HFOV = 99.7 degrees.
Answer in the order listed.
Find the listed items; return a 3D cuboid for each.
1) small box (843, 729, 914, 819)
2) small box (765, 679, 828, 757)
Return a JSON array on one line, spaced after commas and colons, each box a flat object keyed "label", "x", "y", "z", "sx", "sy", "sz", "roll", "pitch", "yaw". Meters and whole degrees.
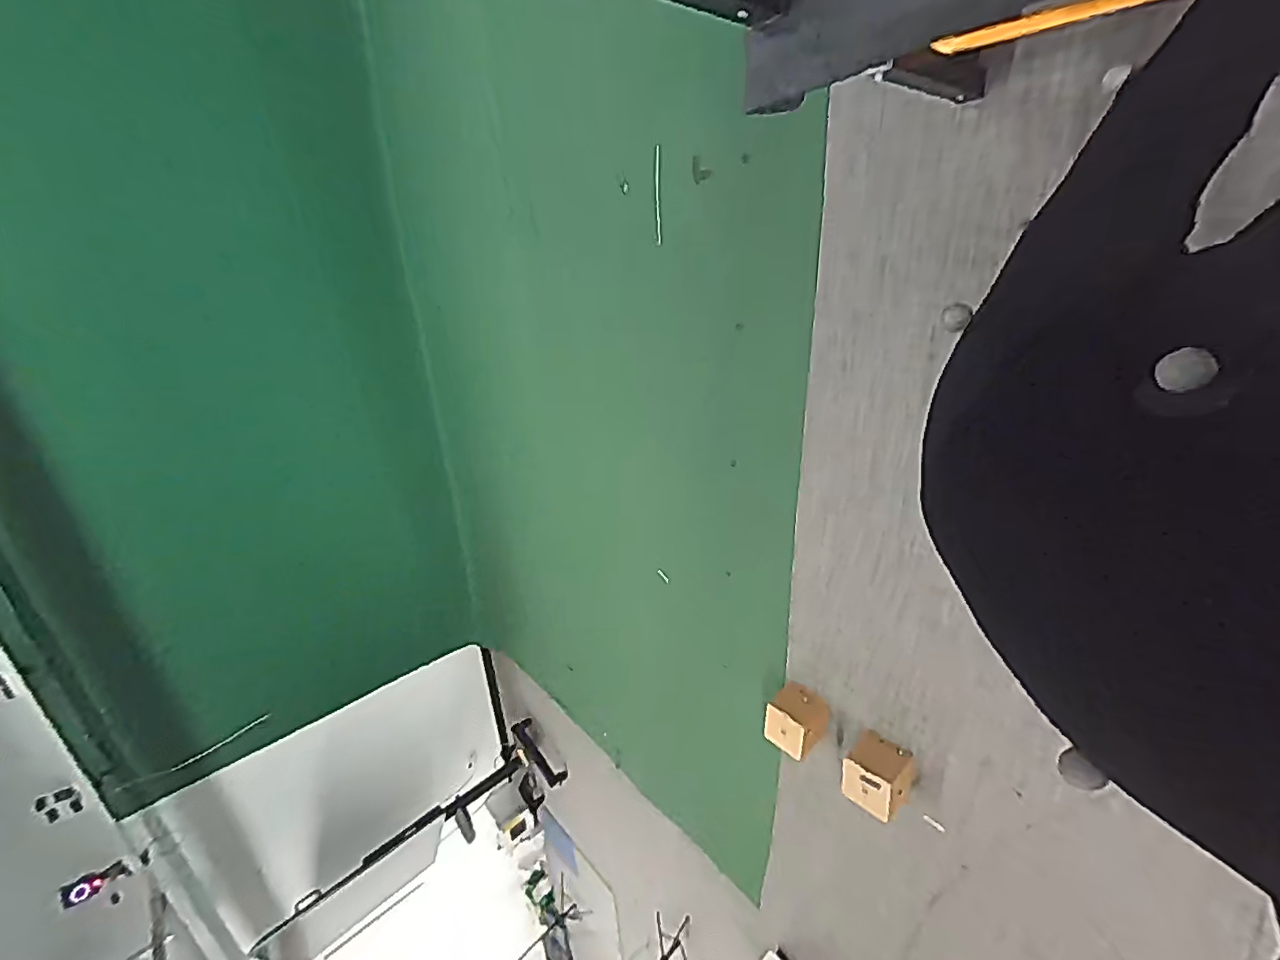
[{"label": "small box", "x": 0.817, "y": 0.996, "z": 1.852, "sx": 0.168, "sy": 0.176, "sz": 0.179, "roll": 17, "pitch": 120, "yaw": 46}, {"label": "small box", "x": 0.602, "y": 0.910, "z": 2.078, "sx": 0.168, "sy": 0.176, "sz": 0.179, "roll": 23, "pitch": 123, "yaw": 43}]
